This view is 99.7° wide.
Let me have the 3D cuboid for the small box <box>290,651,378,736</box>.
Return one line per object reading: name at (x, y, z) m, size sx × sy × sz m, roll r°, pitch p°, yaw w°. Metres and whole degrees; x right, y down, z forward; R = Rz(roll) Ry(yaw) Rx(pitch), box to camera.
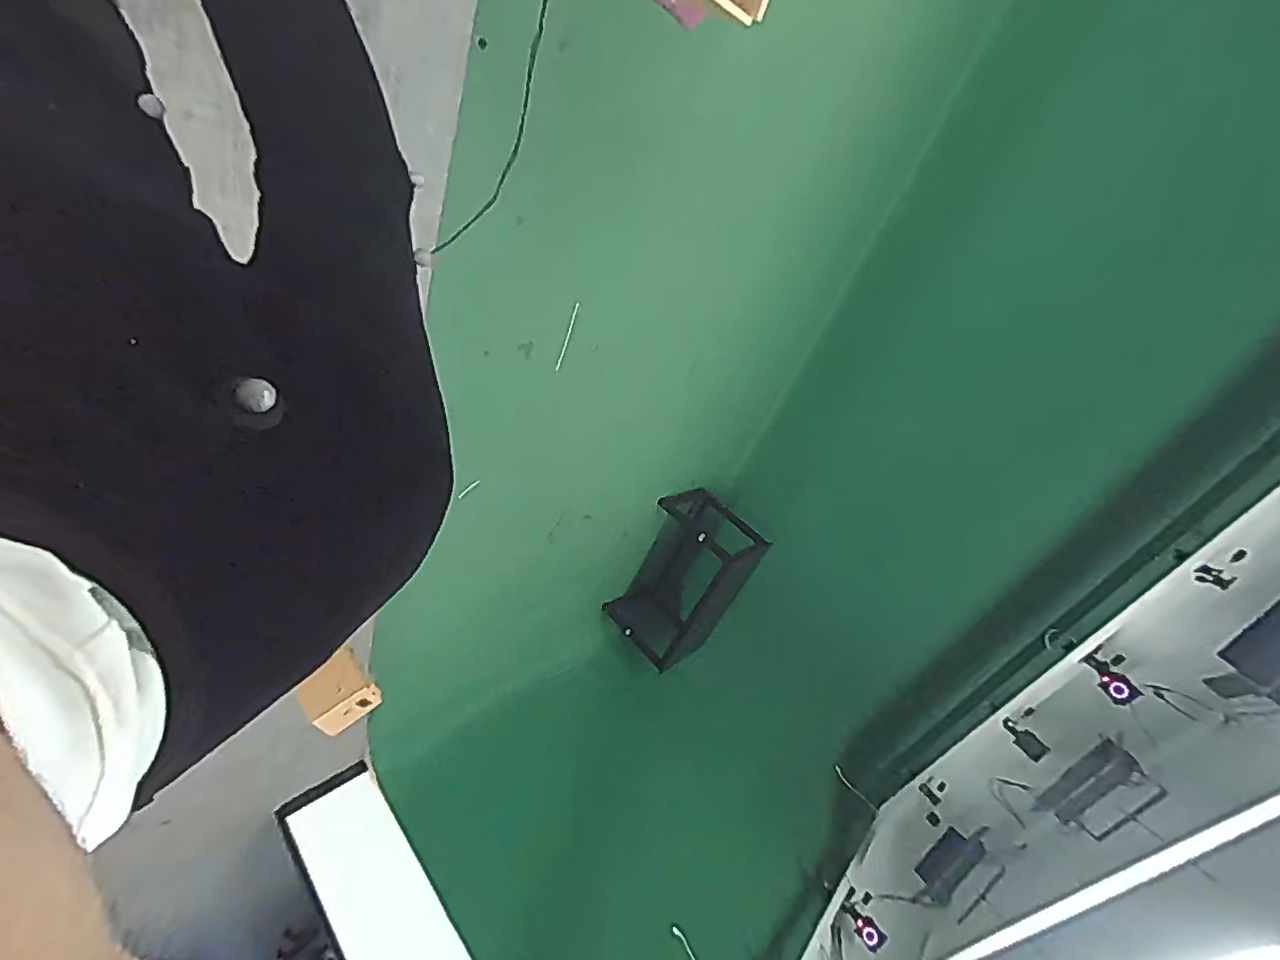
small box at (-1.011, 0.702, 1.792) m, size 0.179 × 0.176 × 0.168 m, roll -34°, pitch 151°, yaw -27°
